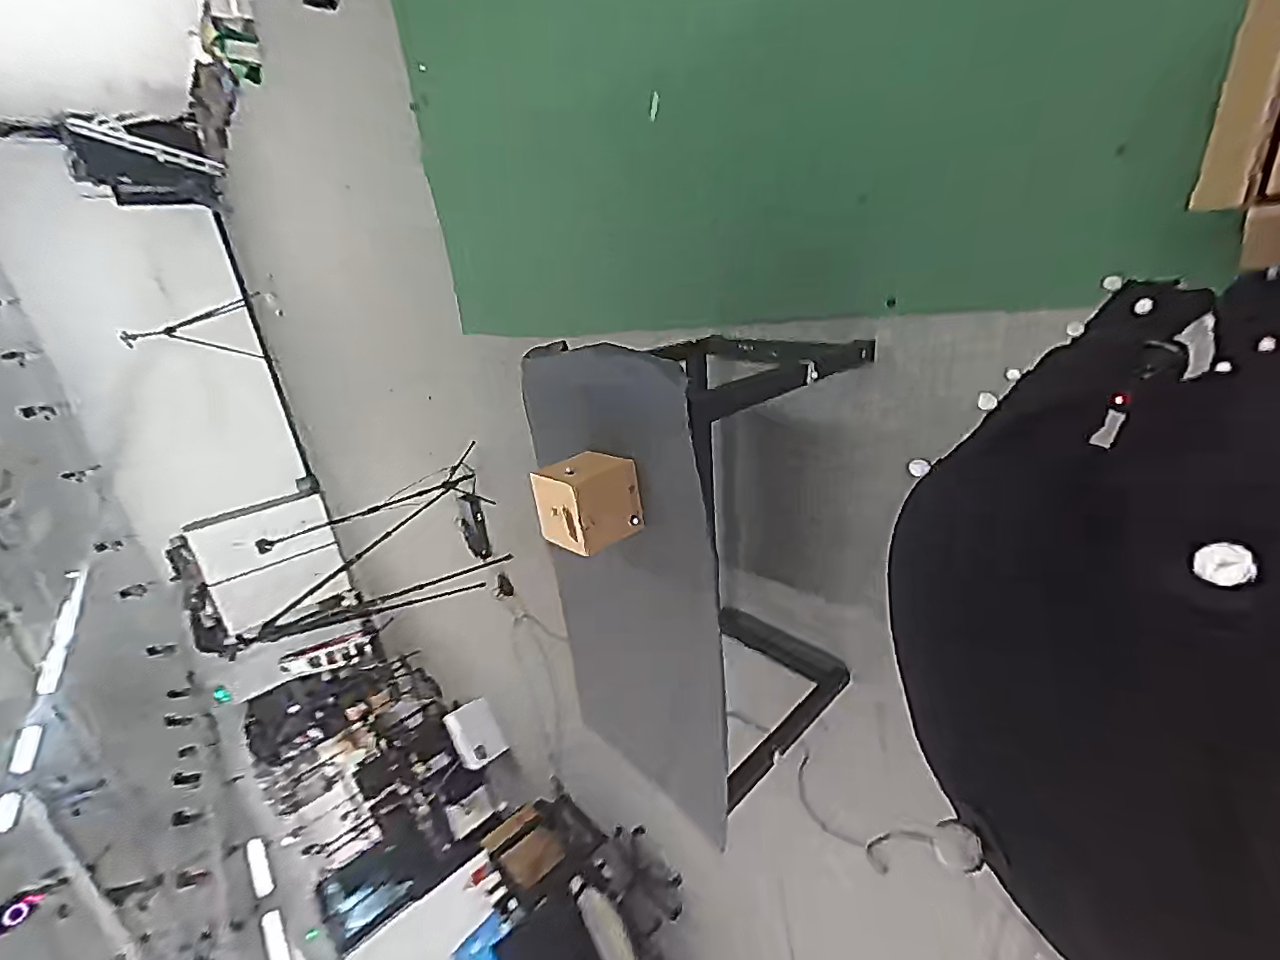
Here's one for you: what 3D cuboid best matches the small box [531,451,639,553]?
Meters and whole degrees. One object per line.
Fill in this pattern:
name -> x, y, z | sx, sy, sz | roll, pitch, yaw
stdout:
small box -> -0.115, 0.040, 1.216 | 0.179, 0.176, 0.168 | 14, 119, 48
